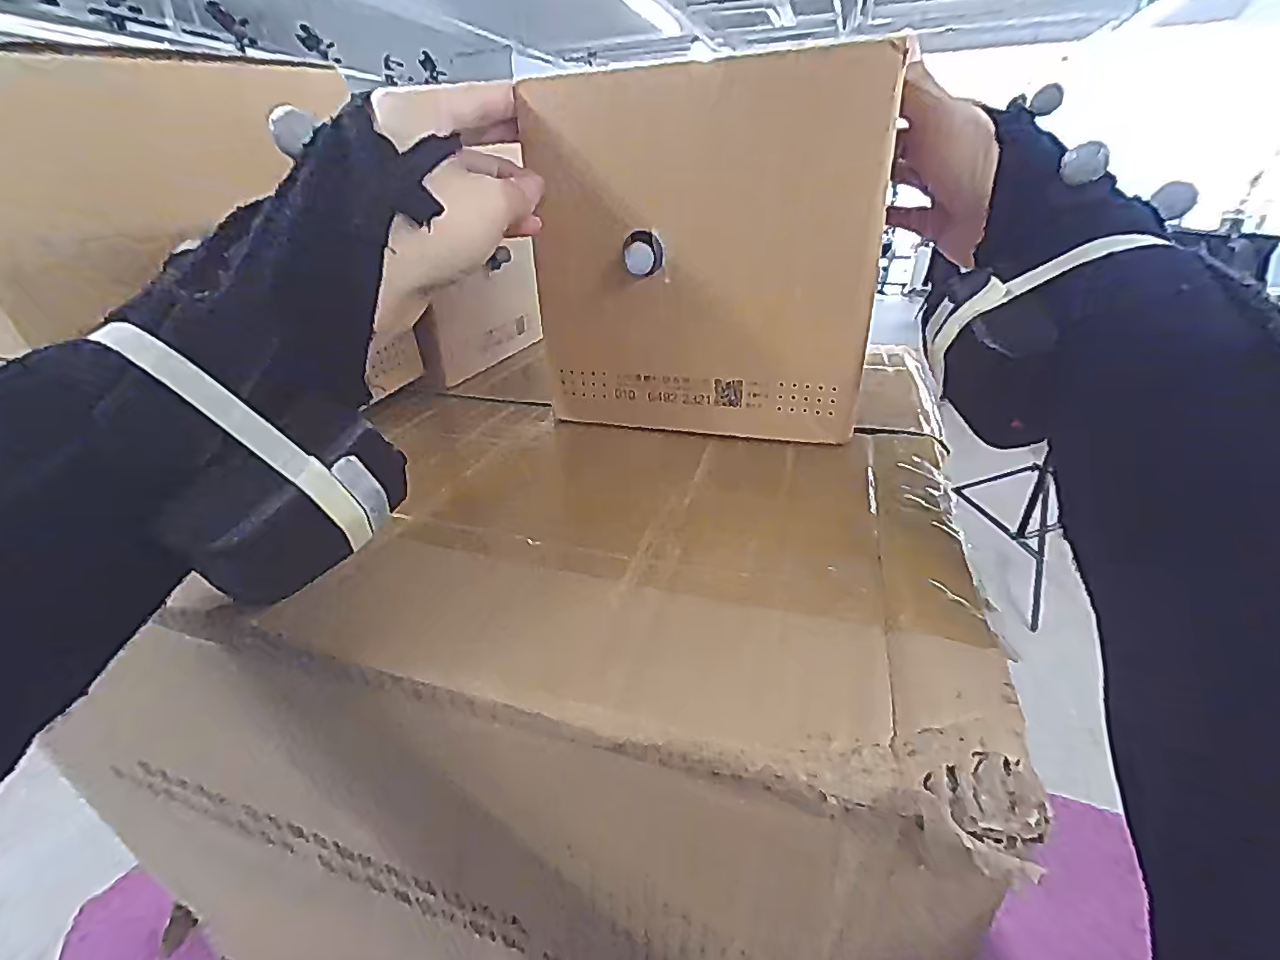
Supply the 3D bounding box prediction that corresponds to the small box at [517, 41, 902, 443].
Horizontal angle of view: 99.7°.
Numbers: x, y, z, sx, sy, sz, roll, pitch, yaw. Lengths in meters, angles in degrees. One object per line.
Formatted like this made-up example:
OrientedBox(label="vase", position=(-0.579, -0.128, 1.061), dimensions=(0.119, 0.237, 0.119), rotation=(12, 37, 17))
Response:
OrientedBox(label="small box", position=(0.051, -0.132, 0.328), dimensions=(0.168, 0.176, 0.179), rotation=(7, 29, 17))
